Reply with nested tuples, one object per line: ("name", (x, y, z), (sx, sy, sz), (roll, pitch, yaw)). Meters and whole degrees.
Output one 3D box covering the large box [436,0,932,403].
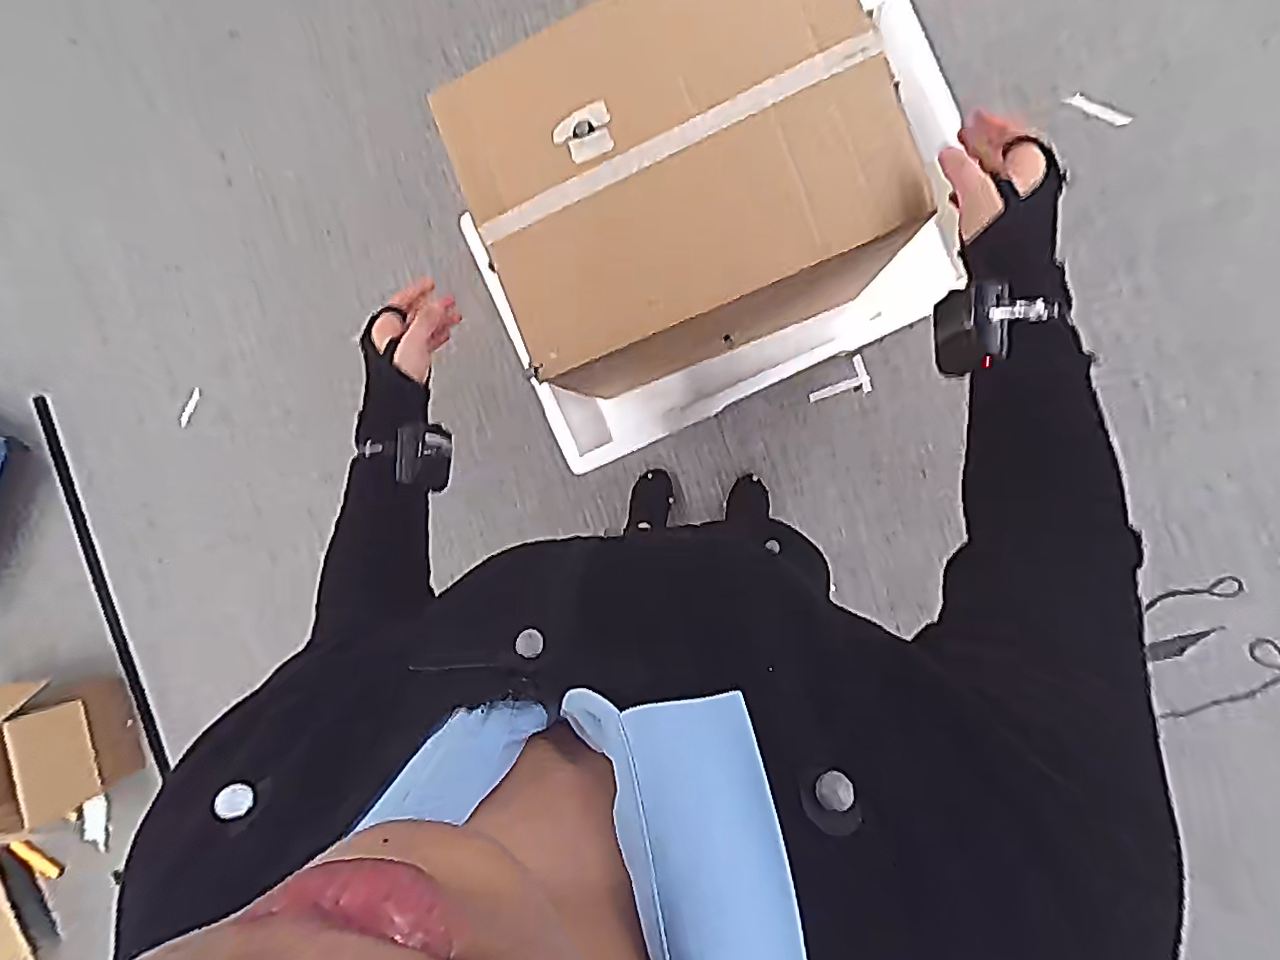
("large box", (0.052, -0.318, 0.660), (0.408, 0.320, 0.320), (-22, 89, 11))
